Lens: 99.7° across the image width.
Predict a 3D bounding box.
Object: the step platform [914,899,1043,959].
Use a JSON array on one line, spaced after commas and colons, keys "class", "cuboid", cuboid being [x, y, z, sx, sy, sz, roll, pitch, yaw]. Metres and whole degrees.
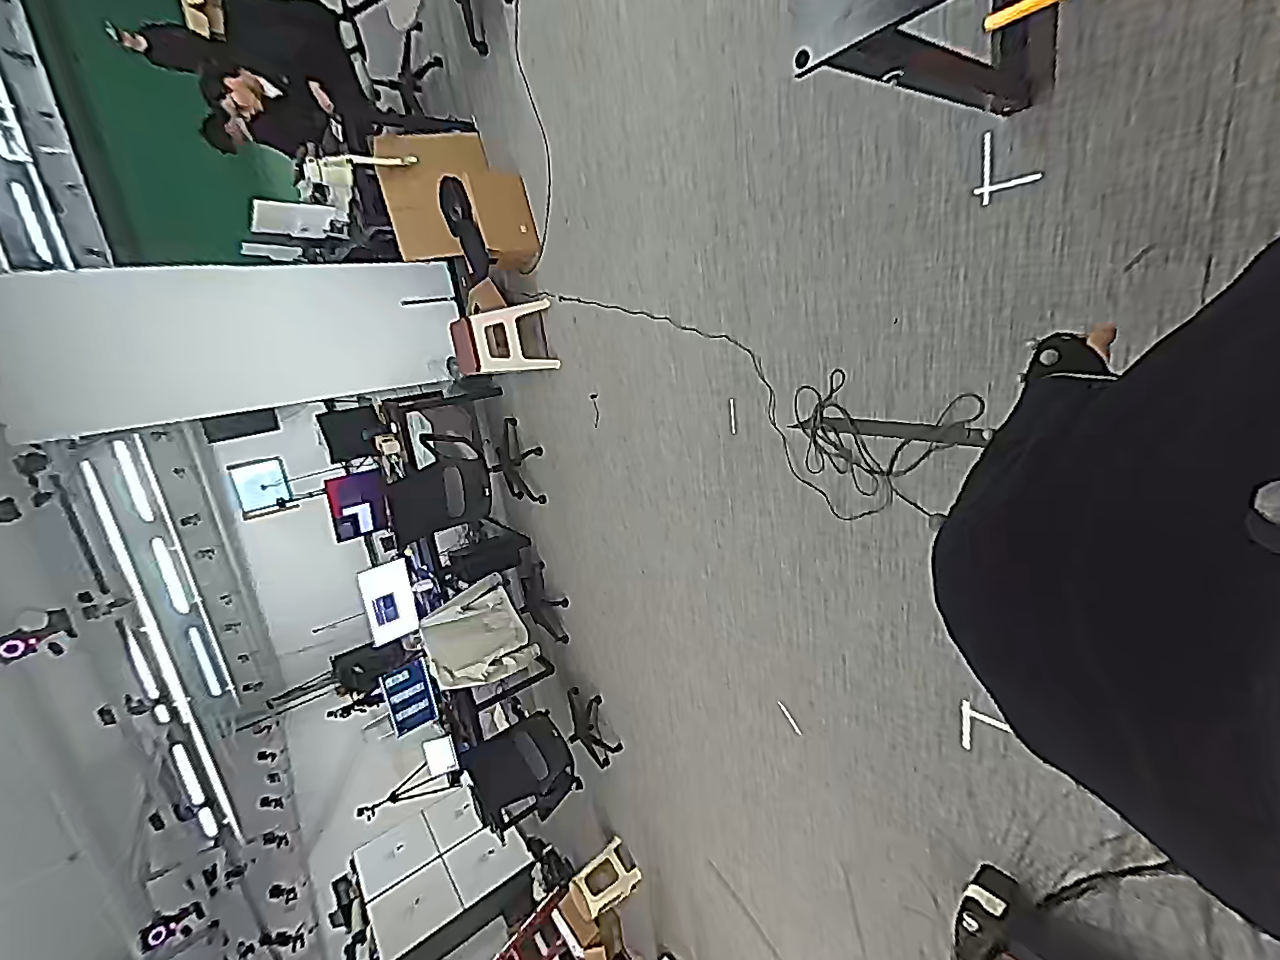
[{"class": "step platform", "cuboid": [1.081, 1.443, 1.368, 0.684, 0.204, 0.286, 12, 116, 53]}]
